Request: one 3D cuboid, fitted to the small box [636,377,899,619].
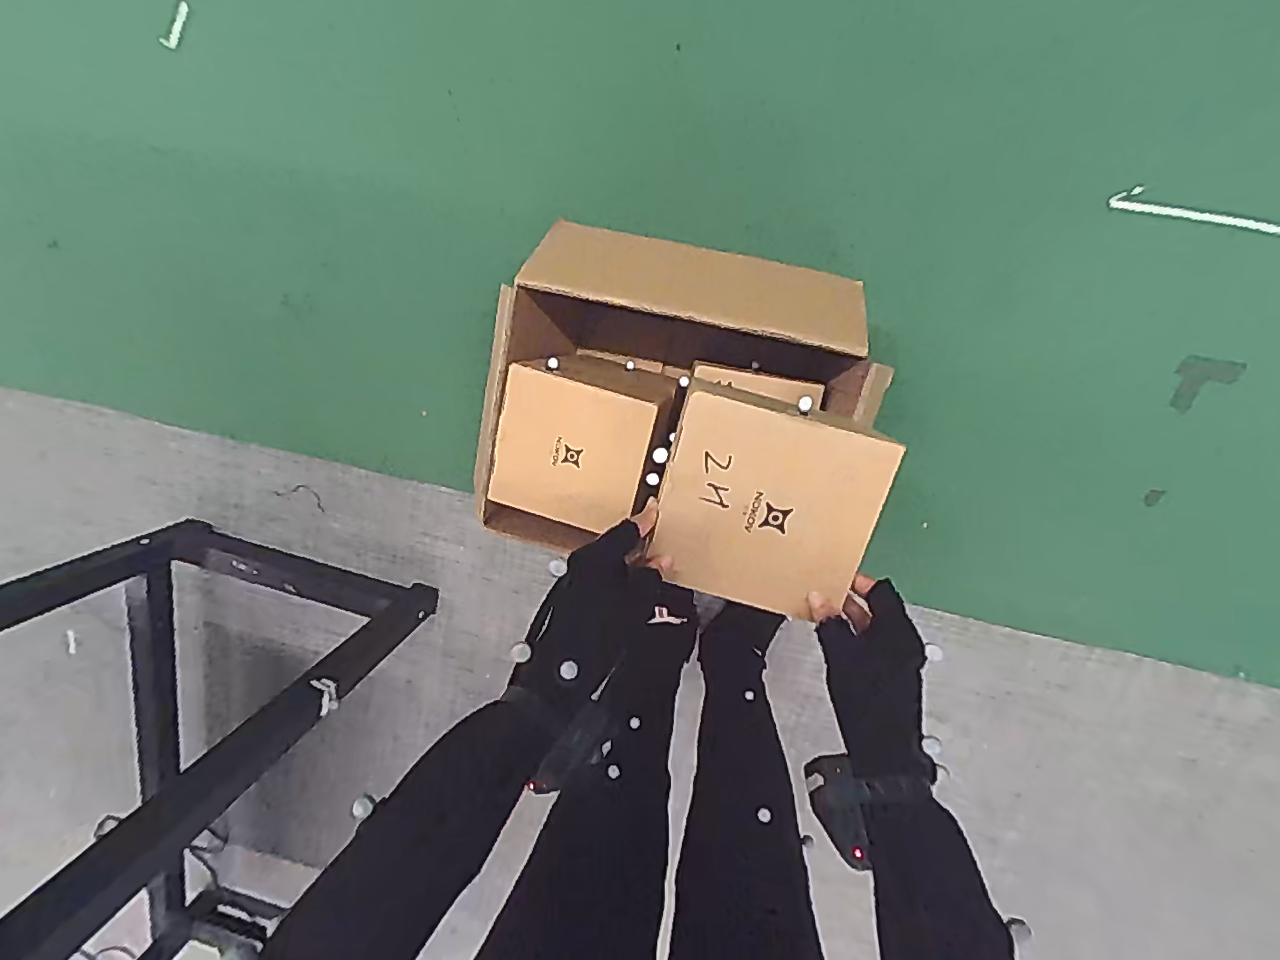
[{"bbox_3d":[0.107,0.003,0.519,0.179,0.176,0.168,15,105,2],"label":"small box"}]
